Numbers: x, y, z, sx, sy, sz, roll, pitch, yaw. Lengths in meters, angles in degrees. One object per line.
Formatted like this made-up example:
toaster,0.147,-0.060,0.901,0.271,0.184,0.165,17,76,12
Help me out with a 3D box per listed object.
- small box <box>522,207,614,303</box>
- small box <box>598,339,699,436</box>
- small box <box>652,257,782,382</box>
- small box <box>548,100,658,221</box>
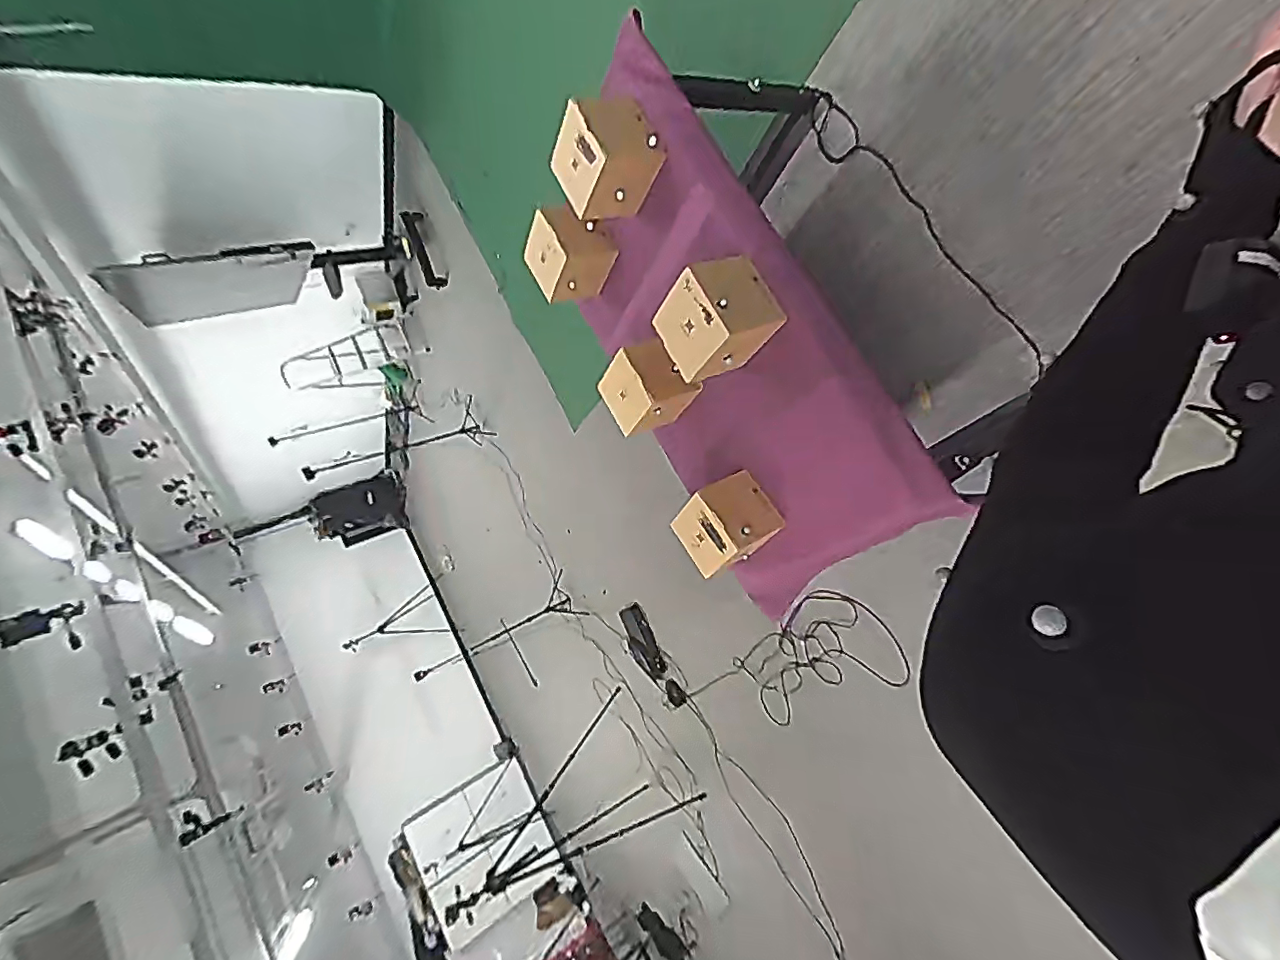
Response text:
small box,-0.196,-0.615,1.475,0.168,0.176,0.179,60,147,10
small box,0.022,-0.241,1.395,0.168,0.176,0.179,60,146,11
small box,0.160,-0.335,1.128,0.168,0.176,0.179,60,149,10
small box,-0.081,-0.728,1.233,0.168,0.176,0.179,61,149,7
